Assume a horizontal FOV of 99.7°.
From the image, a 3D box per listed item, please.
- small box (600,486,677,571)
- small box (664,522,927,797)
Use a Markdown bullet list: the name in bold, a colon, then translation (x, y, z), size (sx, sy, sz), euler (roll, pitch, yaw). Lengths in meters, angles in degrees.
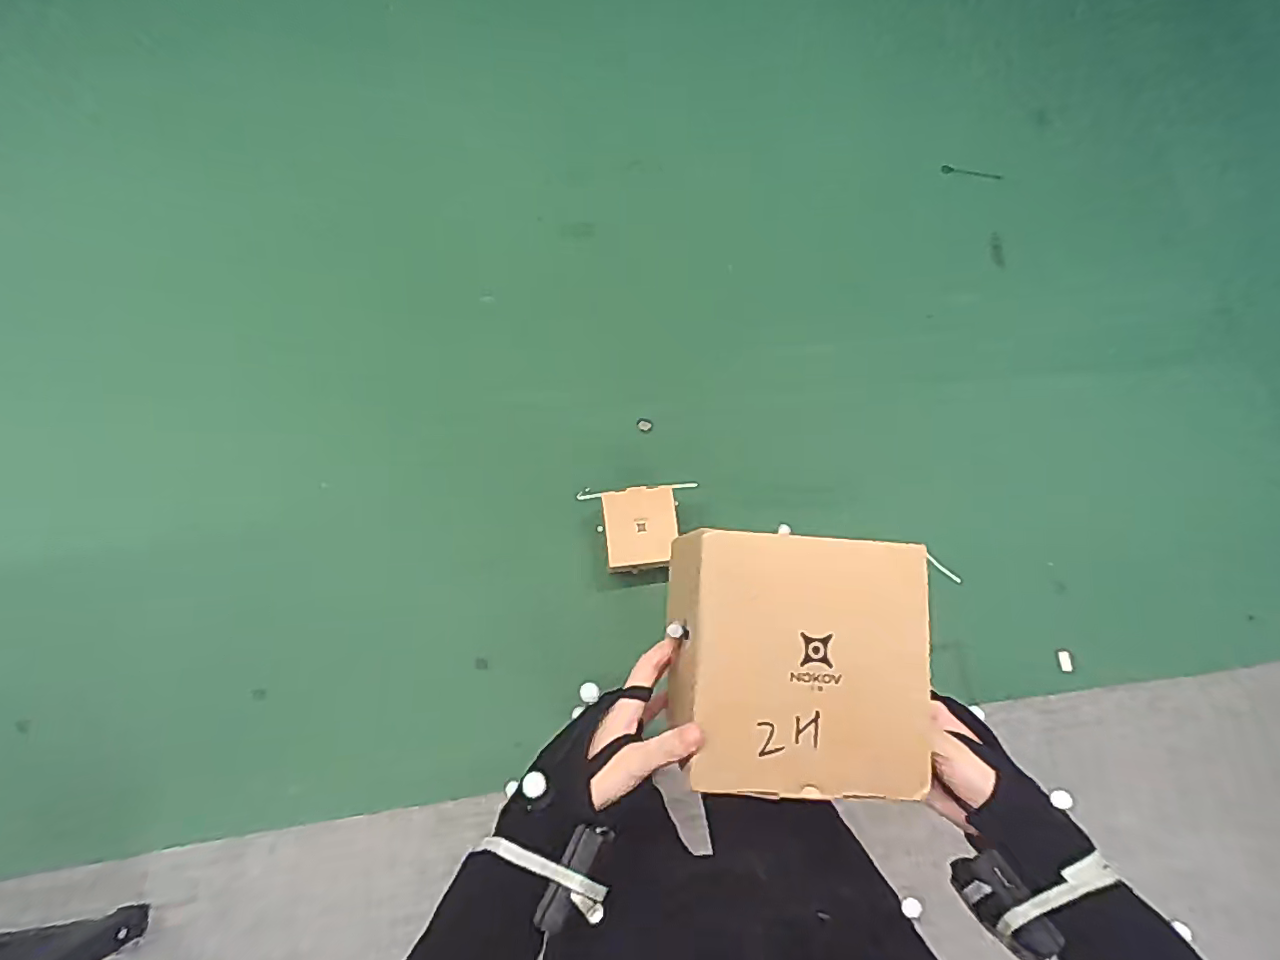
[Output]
- **small box**: translation (-0.006, 0.124, 1.309), size (0.168, 0.176, 0.179), euler (-6, 75, -5)
- **small box**: translation (0.115, 0.136, 0.456), size (0.168, 0.176, 0.179), euler (5, 81, -3)
